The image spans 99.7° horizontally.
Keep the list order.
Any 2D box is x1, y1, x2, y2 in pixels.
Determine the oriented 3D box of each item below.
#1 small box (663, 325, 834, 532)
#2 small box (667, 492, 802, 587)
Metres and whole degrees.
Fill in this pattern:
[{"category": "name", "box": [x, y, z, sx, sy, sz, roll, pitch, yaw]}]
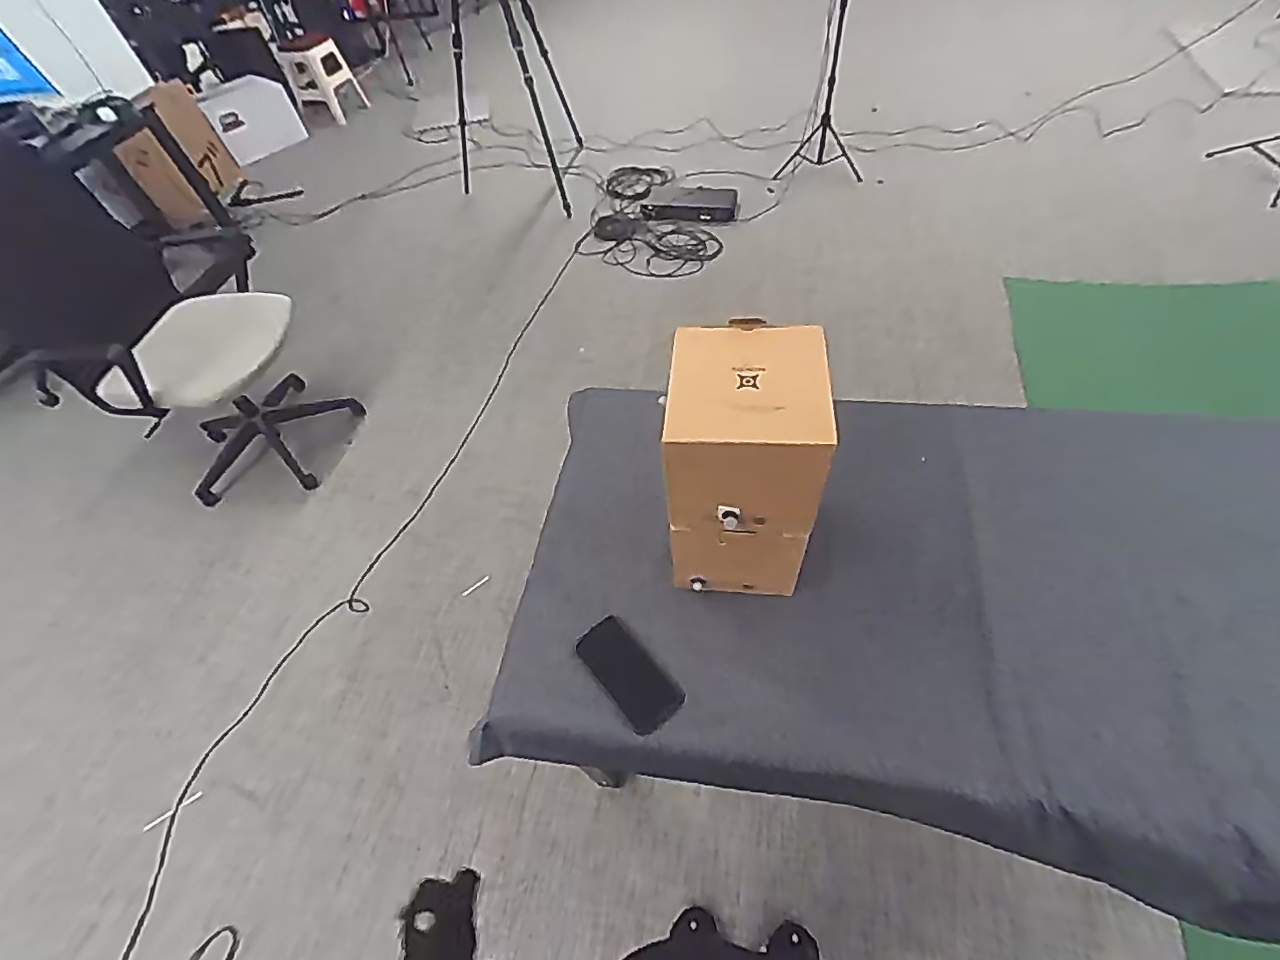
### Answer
[{"category": "small box", "box": [0.119, -0.059, 0.630, 0.168, 0.176, 0.179, 1, 55, 8]}, {"category": "small box", "box": [0.132, 0.037, 0.760, 0.168, 0.176, 0.179, 2, 53, 8]}]
